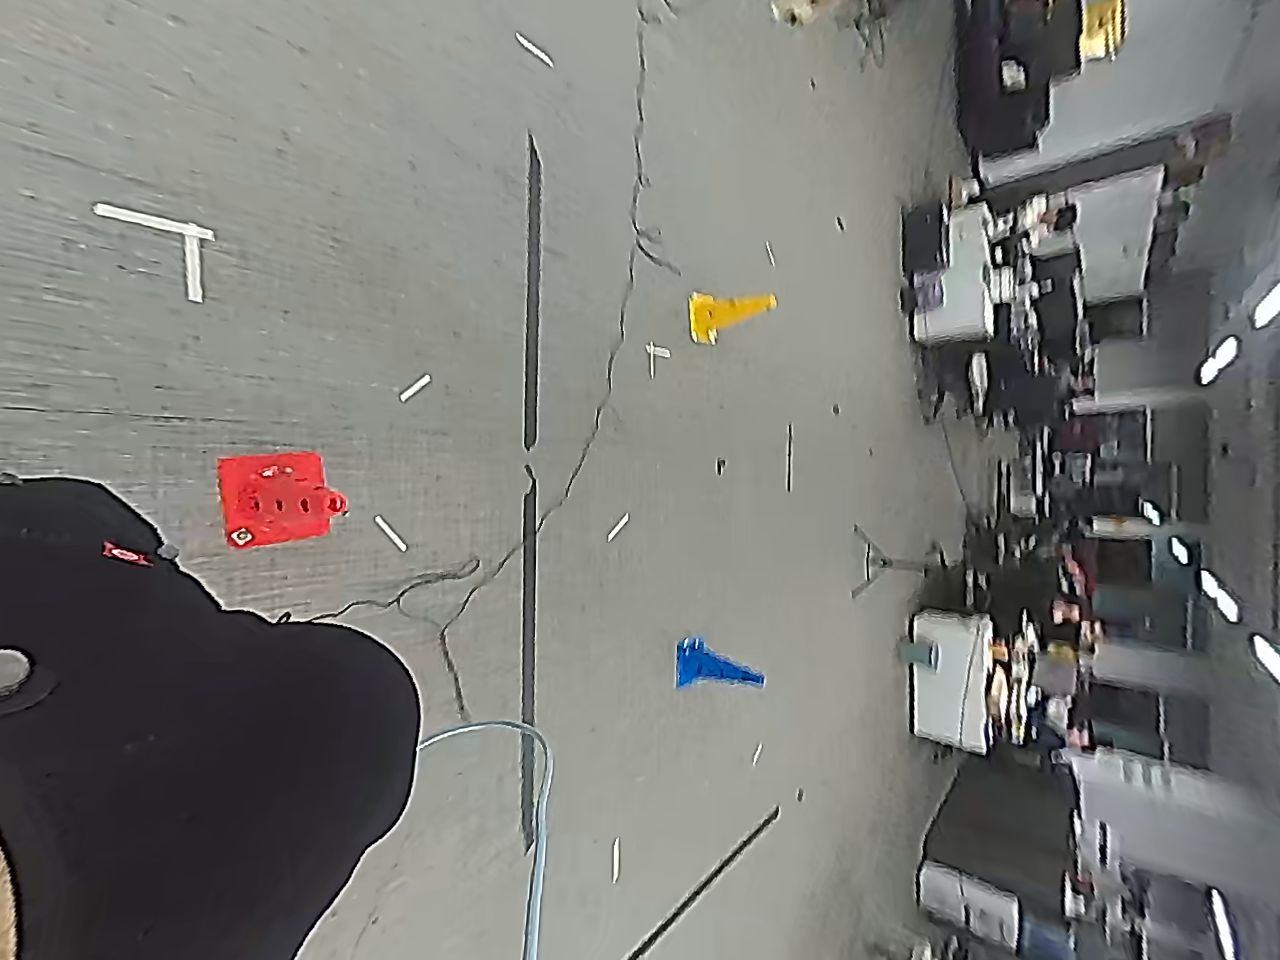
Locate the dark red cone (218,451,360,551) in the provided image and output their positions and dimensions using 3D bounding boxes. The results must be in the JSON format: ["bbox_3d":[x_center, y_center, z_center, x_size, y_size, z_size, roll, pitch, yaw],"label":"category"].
[{"bbox_3d":[-0.661,0.042,1.073,0.201,0.394,0.202,-12,100,-49],"label":"dark red cone"}]

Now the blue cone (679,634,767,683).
[{"bbox_3d":[0.357,0.796,2.296,0.192,0.380,0.193,1,90,-50],"label":"blue cone"}]
